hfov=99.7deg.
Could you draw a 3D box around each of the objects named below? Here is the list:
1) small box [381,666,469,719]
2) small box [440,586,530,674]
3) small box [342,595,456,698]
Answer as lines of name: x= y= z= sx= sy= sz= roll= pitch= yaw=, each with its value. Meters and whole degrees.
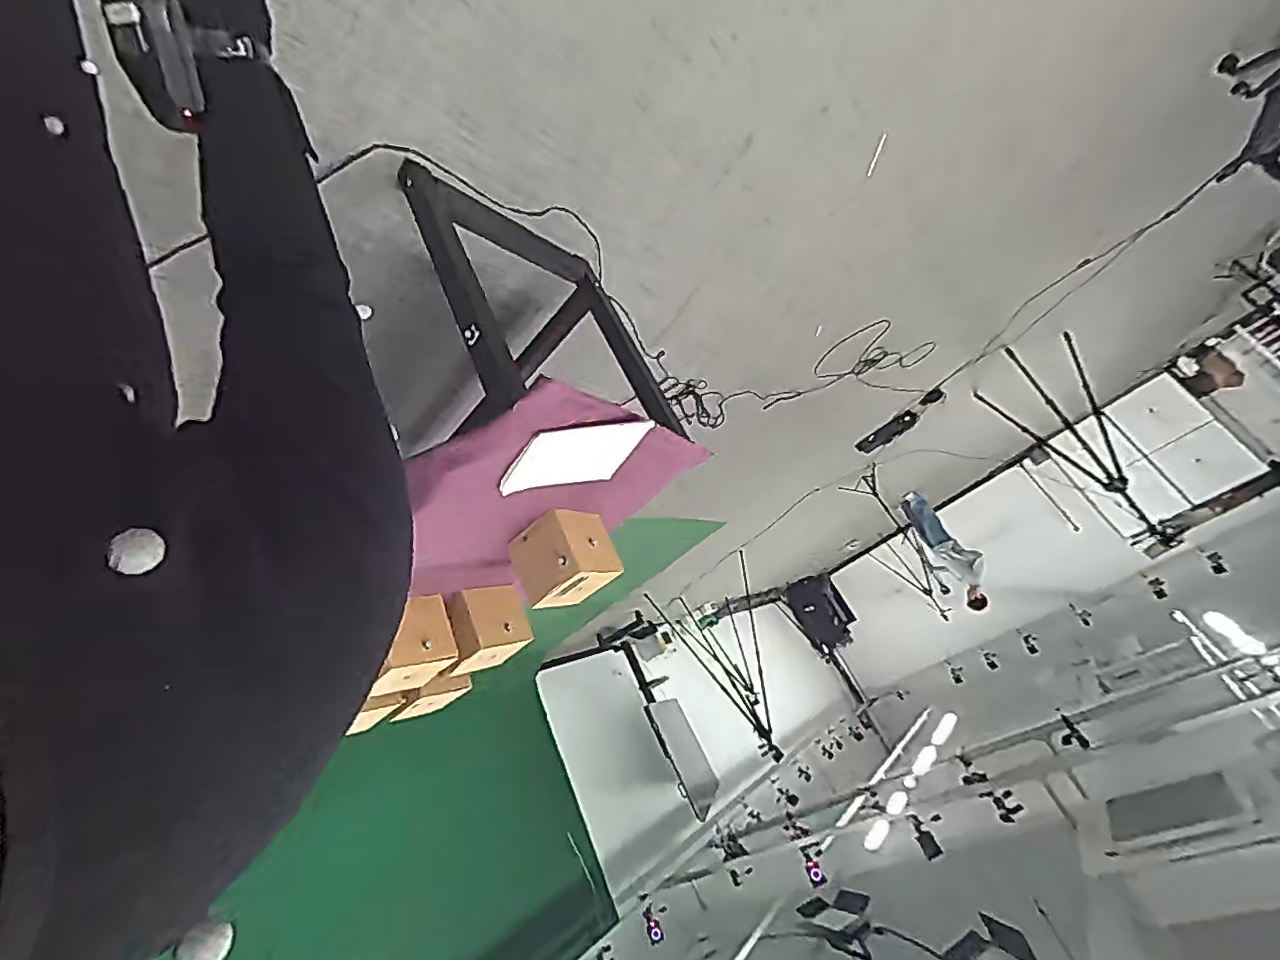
small box: x=-0.649 y=0.577 z=1.605 sx=0.168 sy=0.176 sz=0.179 roll=-38 pitch=155 yaw=22
small box: x=-0.435 y=0.397 z=1.464 sx=0.168 sy=0.176 sz=0.179 roll=-40 pitch=154 yaw=26
small box: x=-0.581 y=0.389 z=1.292 sx=0.168 sy=0.176 sz=0.179 roll=-39 pitch=155 yaw=25
